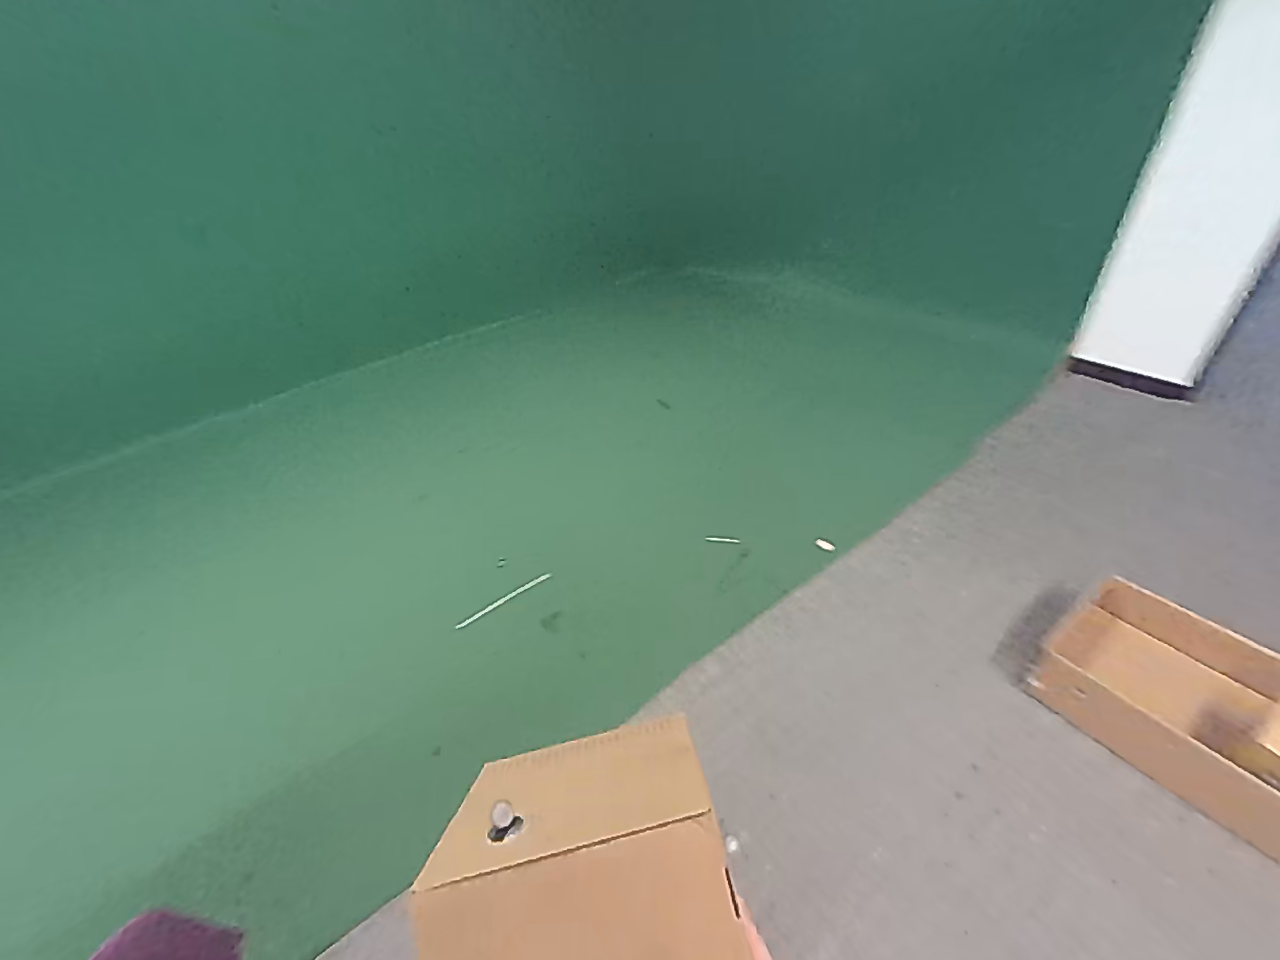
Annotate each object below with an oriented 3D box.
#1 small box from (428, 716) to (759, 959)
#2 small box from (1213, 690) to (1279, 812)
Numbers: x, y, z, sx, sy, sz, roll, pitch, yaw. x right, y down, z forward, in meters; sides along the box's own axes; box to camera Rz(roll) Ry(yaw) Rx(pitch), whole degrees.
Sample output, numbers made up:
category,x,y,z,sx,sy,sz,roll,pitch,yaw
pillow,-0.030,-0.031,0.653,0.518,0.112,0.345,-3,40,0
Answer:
category,x,y,z,sx,sy,sz,roll,pitch,yaw
small box,-0.019,0.289,0.376,0.179,0.168,0.176,-12,-4,-2
small box,1.445,0.617,1.203,0.179,0.176,0.168,-27,43,-22
